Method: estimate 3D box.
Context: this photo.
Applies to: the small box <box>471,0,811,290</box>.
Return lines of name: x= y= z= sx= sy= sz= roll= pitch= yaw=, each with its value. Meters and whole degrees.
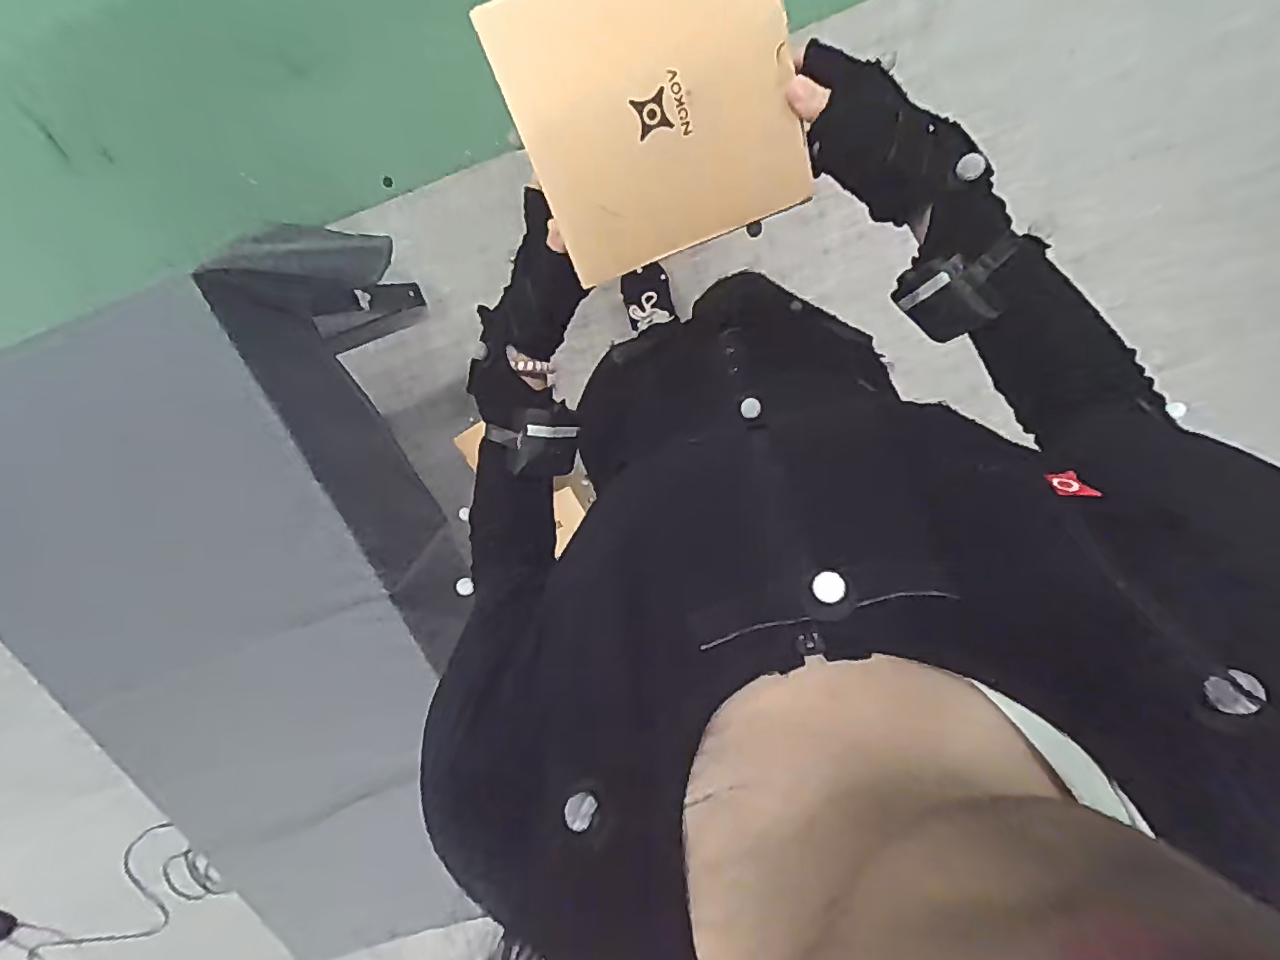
small box: x=0.004 y=-0.266 z=0.406 sx=0.179 sy=0.176 sz=0.168 roll=-20 pitch=121 yaw=6

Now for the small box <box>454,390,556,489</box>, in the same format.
small box: x=-0.339 y=-0.109 z=1.393 sx=0.179 sy=0.176 sz=0.168 roll=-30 pitch=109 yaw=11
